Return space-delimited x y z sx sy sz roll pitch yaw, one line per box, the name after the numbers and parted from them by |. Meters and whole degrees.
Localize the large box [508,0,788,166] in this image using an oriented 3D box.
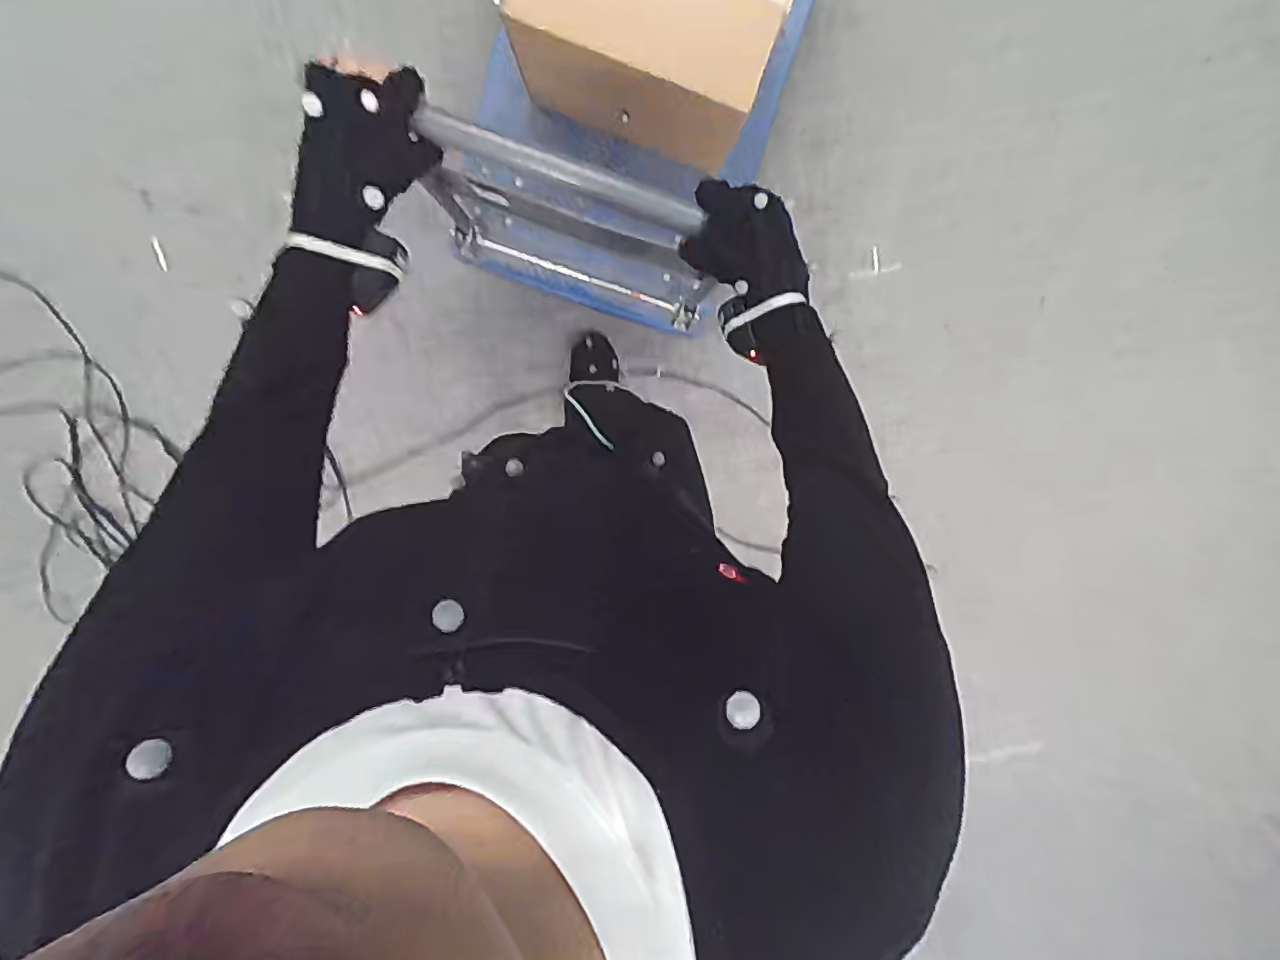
0.035 -0.816 0.940 0.408 0.320 0.320 18 101 -5 | large box
